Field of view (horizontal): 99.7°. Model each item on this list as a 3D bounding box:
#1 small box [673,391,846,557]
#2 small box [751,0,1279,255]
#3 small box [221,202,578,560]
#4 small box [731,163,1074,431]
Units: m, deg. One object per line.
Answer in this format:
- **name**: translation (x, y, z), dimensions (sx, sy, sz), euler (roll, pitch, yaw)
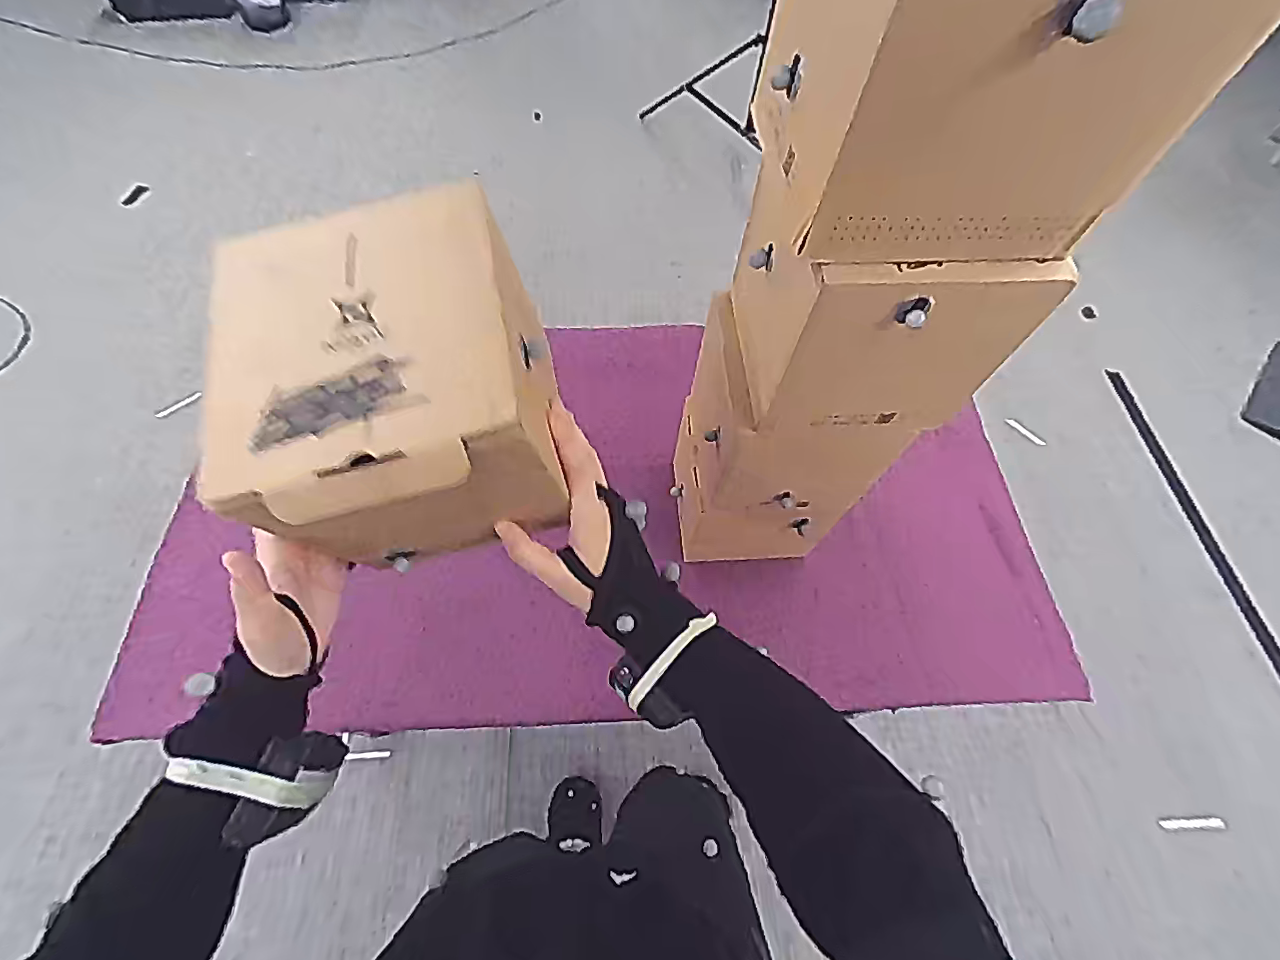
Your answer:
- **small box**: translation (0.144, -0.003, 0.722), dimensions (0.179, 0.176, 0.168), euler (-3, 61, -3)
- **small box**: translation (0.176, -0.245, 0.297), dimensions (0.179, 0.176, 0.168), euler (-3, 62, -4)
- **small box**: translation (-0.149, -0.051, 0.384), dimensions (0.168, 0.176, 0.179), euler (-14, 68, -1)
- **small box**: translation (0.177, -0.158, 0.435), dimensions (0.168, 0.176, 0.179), euler (-3, 62, -4)
